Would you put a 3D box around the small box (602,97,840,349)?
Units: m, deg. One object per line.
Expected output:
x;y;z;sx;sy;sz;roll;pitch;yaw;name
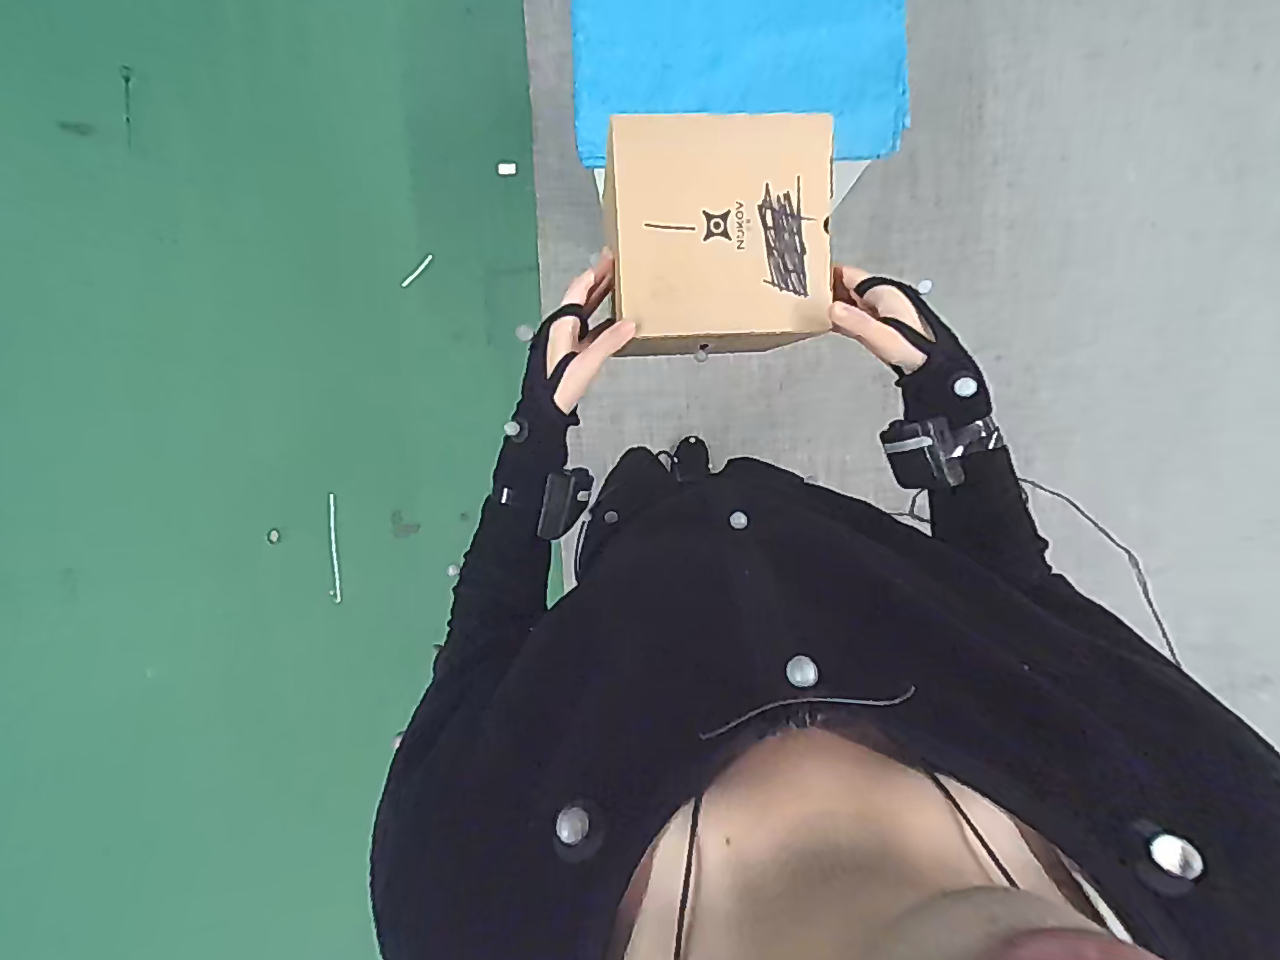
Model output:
0.061;-0.213;0.493;0.179;0.176;0.168;-4;98;-6;small box
